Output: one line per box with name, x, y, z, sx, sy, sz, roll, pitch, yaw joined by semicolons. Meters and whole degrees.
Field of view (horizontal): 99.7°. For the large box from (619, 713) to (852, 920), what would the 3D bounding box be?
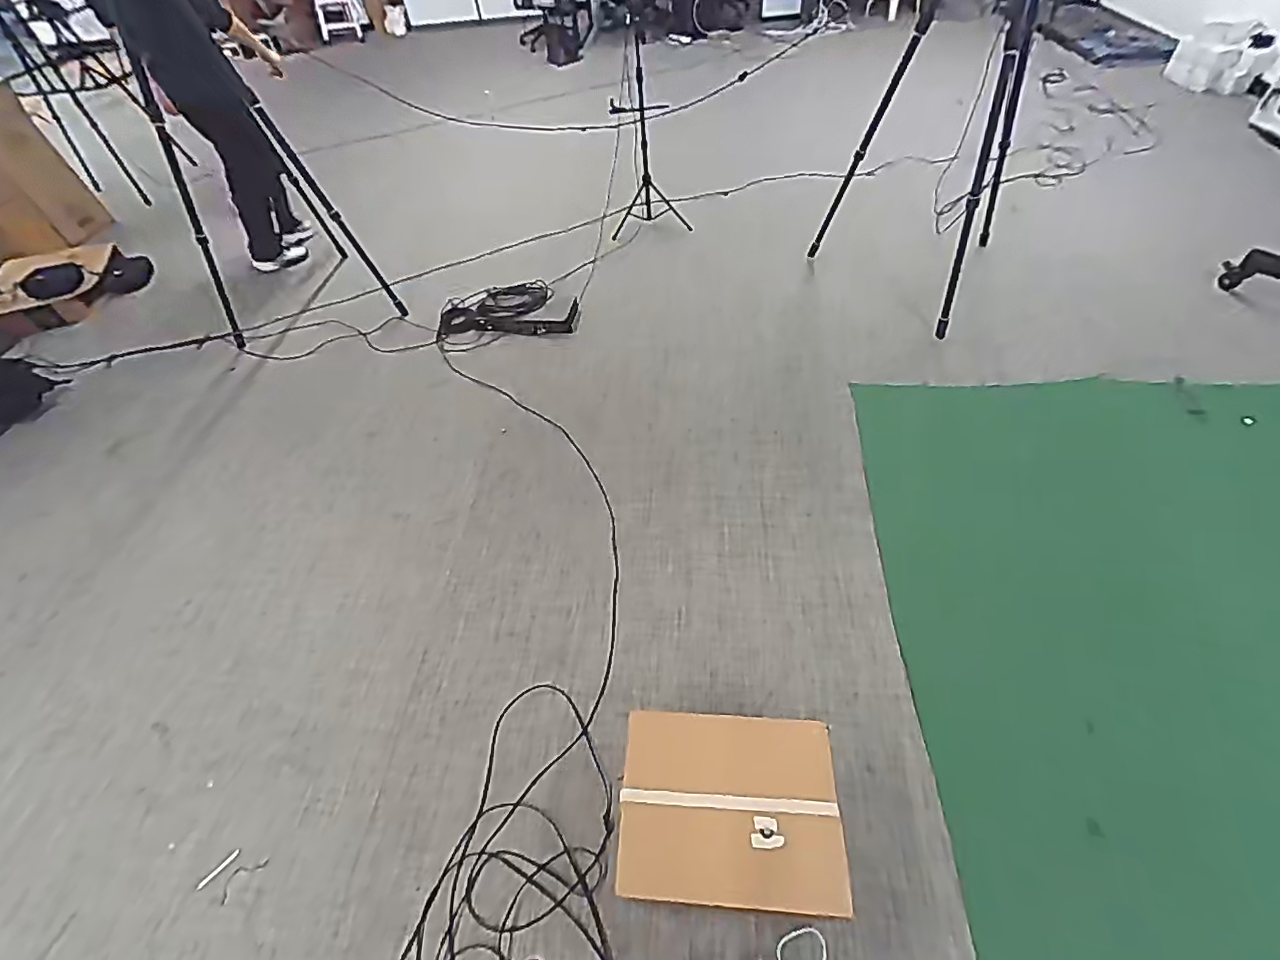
large box;0.176;0.703;1.129;0.408;0.320;0.320;1;50;5
